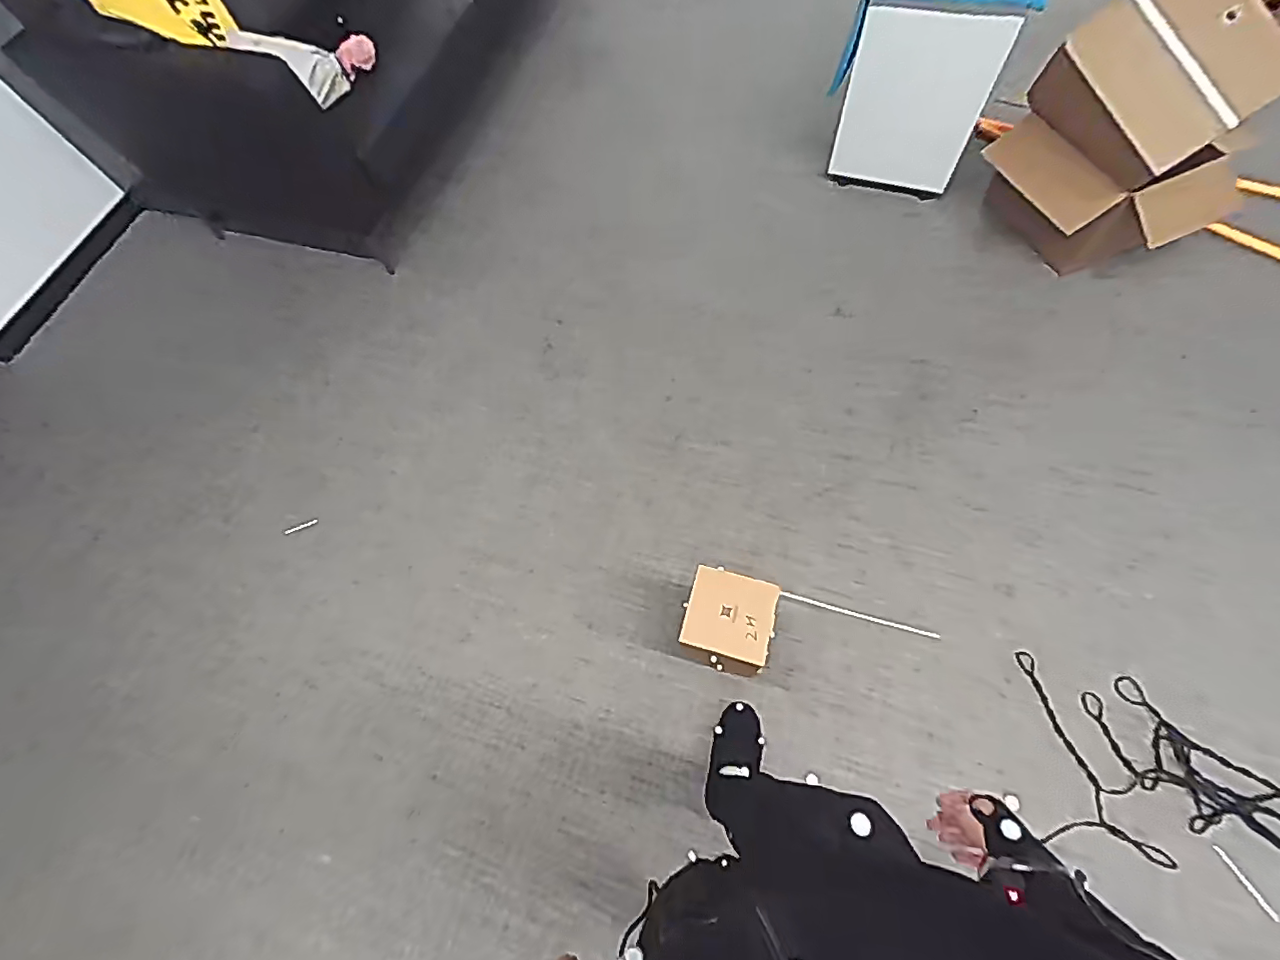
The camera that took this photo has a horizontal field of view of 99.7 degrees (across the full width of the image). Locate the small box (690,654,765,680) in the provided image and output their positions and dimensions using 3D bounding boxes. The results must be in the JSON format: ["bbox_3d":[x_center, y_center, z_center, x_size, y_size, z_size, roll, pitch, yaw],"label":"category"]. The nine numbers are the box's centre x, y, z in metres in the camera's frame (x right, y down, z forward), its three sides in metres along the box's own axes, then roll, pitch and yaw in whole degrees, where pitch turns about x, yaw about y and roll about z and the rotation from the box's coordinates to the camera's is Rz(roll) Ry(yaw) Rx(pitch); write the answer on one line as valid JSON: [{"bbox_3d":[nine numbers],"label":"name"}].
[{"bbox_3d":[0.221,0.376,1.308,0.179,0.176,0.168,14,68,12],"label":"small box"}]

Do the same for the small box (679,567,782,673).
[{"bbox_3d":[0.193,0.306,1.161,0.179,0.176,0.168,14,69,12],"label":"small box"}]
